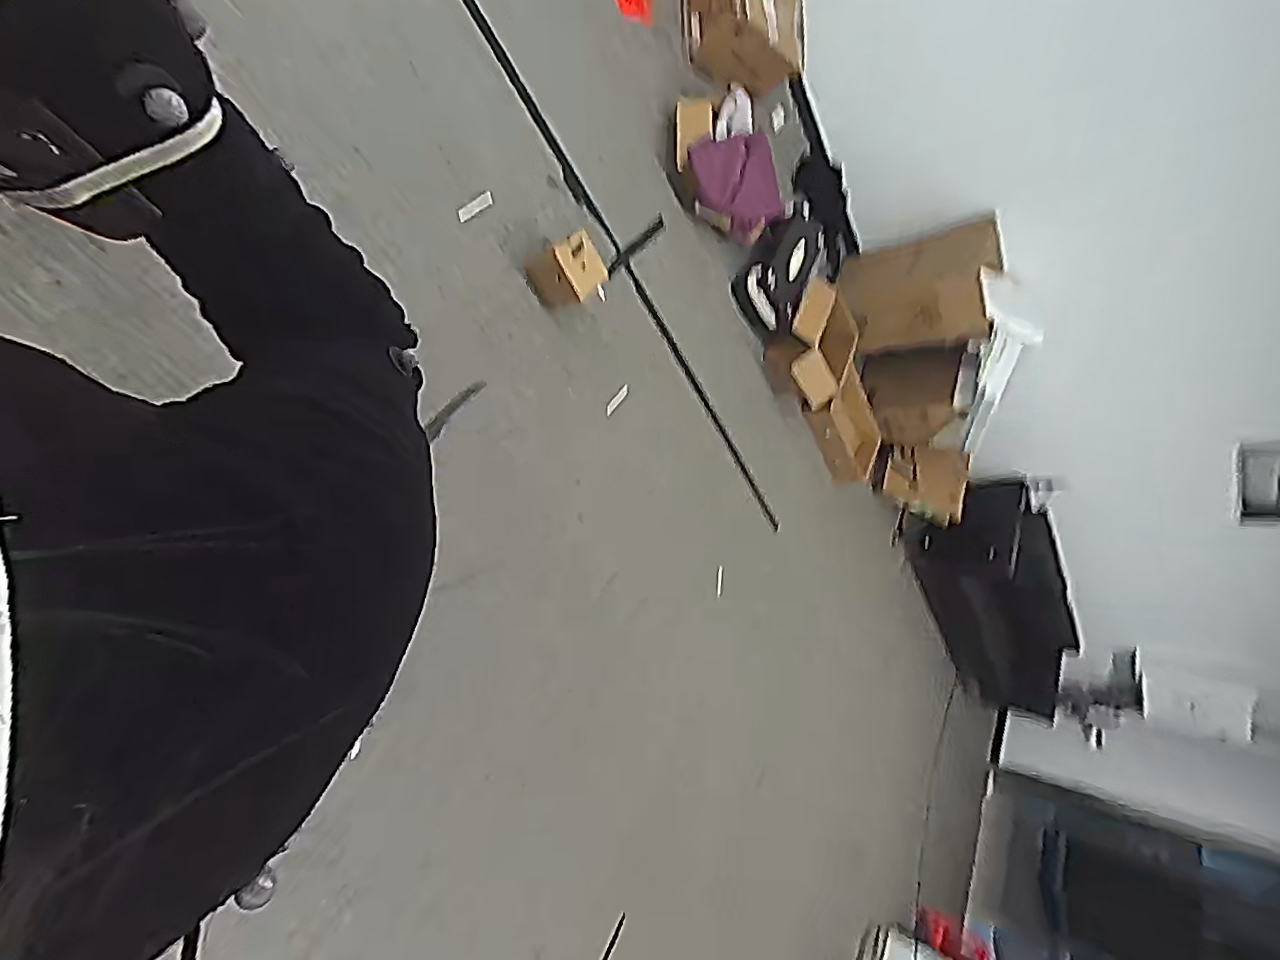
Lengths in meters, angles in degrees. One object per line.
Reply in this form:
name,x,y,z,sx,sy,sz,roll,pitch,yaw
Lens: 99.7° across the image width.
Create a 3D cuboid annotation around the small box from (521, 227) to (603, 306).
small box,-0.266,-0.713,1.821,0.168,0.176,0.179,-52,124,-32
